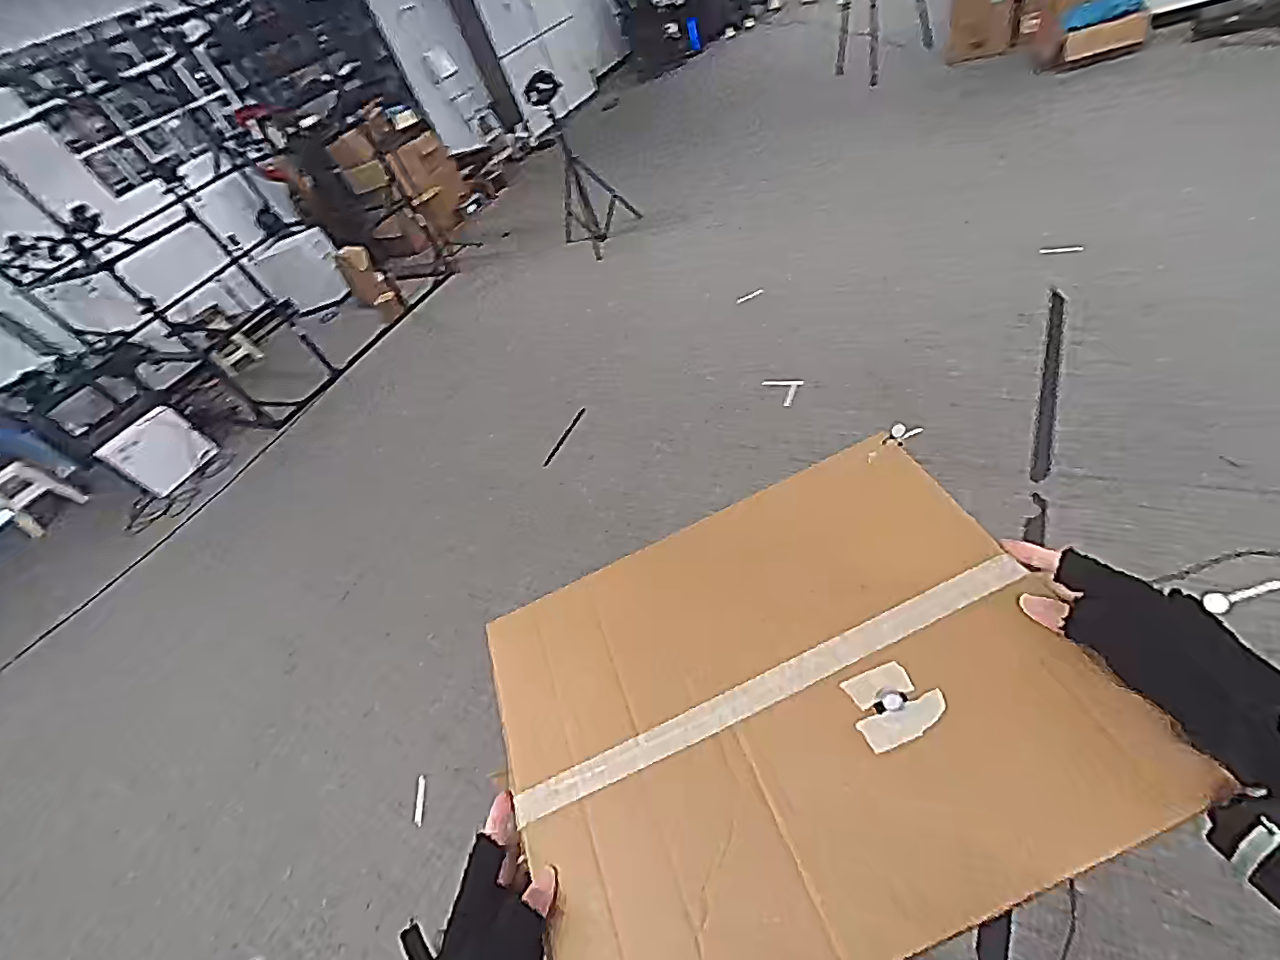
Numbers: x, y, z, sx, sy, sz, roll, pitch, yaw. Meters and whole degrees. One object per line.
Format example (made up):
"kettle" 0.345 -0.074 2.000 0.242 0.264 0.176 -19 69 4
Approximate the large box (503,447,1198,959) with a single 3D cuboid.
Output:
"large box" 0.139 0.245 0.520 0.408 0.320 0.320 -25 51 -1
